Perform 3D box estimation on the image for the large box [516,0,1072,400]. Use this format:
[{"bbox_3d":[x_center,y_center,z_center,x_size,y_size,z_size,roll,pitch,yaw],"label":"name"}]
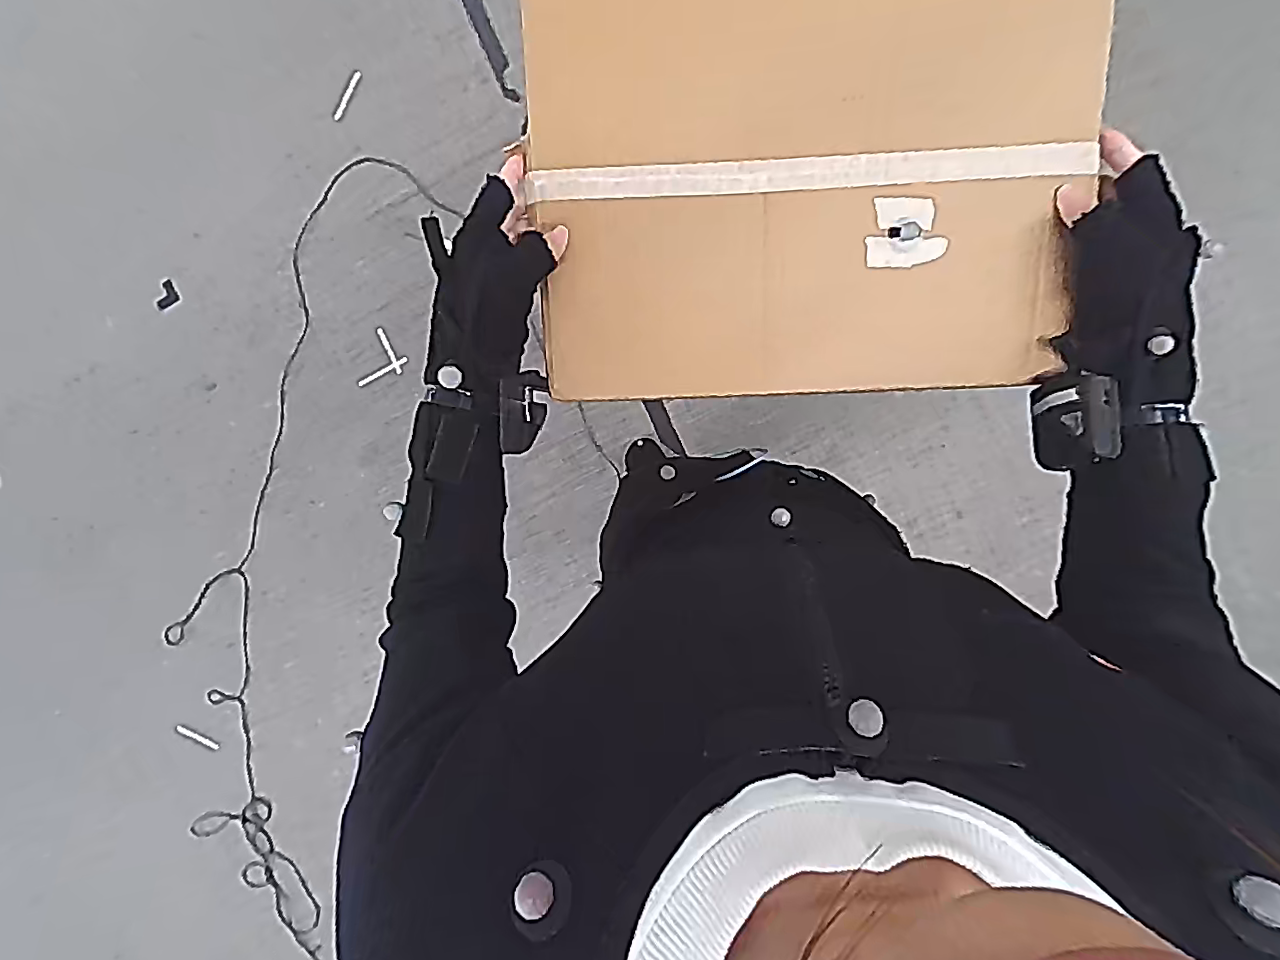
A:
[{"bbox_3d":[0.116,-0.254,0.555,0.408,0.320,0.320,-3,101,1],"label":"large box"}]
